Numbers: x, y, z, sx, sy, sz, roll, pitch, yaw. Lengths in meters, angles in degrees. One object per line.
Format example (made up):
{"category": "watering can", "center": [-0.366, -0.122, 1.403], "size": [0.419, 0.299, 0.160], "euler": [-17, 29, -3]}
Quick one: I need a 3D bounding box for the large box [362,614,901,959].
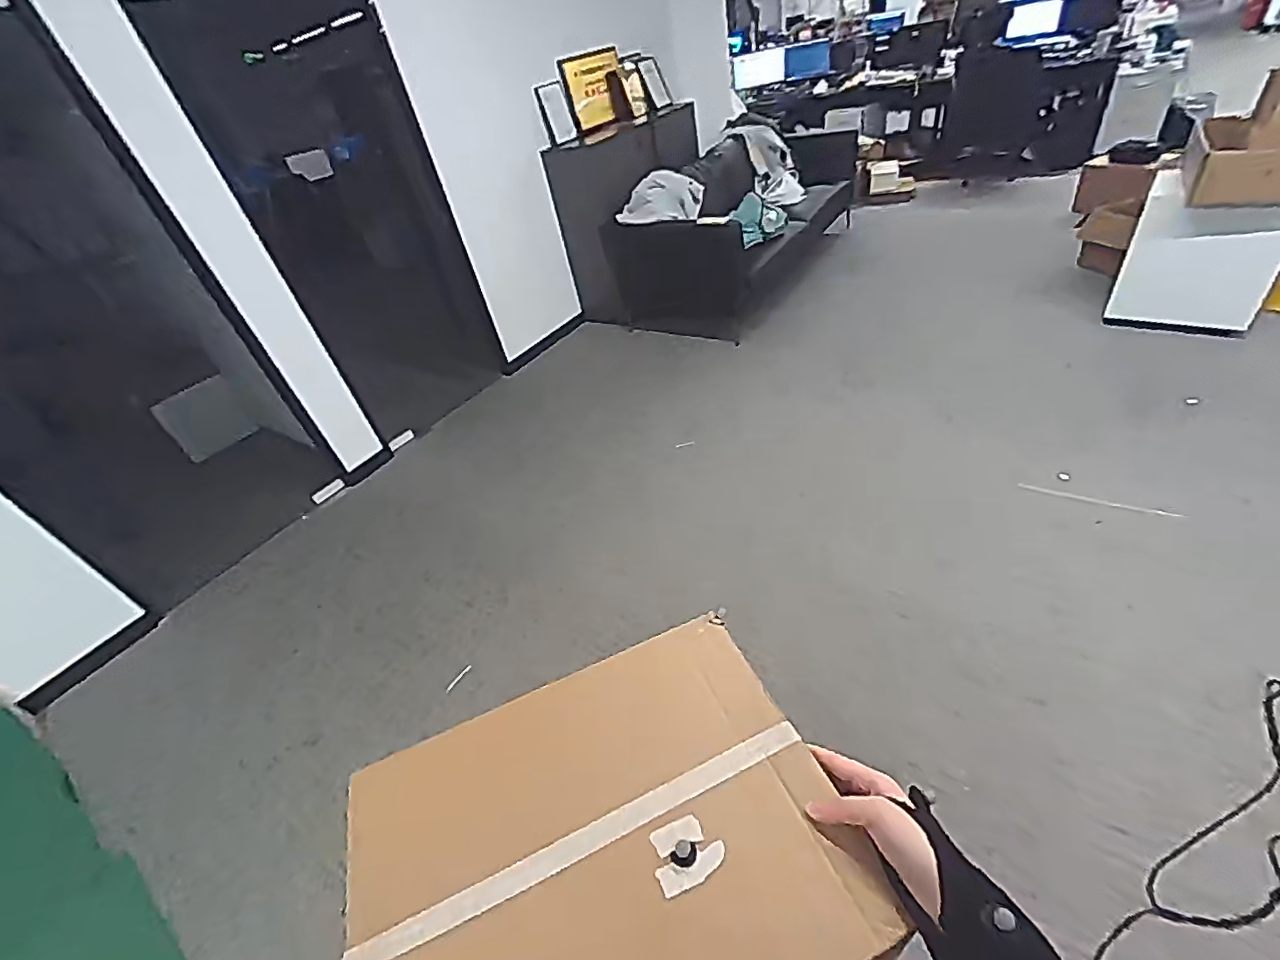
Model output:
{"category": "large box", "center": [-0.021, 0.419, 0.563], "size": [0.408, 0.320, 0.320], "euler": [-19, 40, -14]}
